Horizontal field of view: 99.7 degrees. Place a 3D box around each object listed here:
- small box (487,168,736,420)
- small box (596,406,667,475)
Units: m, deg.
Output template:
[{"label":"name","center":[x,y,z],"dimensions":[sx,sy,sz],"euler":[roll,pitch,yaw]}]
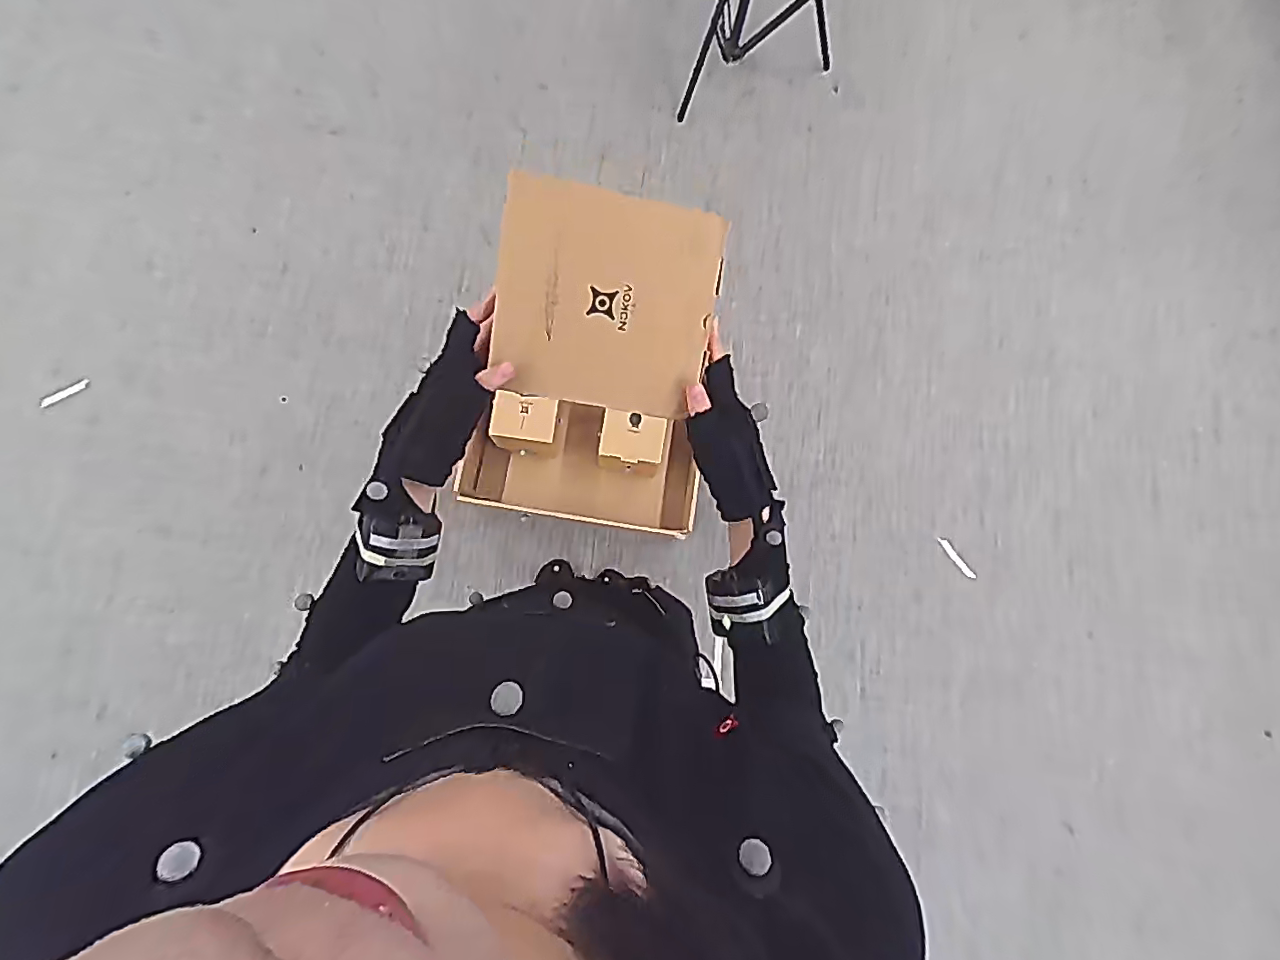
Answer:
[{"label":"small box","center":[-0.029,-0.156,0.501],"dimensions":[0.179,0.176,0.168],"euler":[9,99,-5]},{"label":"small box","center":[-0.020,-0.121,1.477],"dimensions":[0.168,0.176,0.179],"euler":[10,80,1]}]
